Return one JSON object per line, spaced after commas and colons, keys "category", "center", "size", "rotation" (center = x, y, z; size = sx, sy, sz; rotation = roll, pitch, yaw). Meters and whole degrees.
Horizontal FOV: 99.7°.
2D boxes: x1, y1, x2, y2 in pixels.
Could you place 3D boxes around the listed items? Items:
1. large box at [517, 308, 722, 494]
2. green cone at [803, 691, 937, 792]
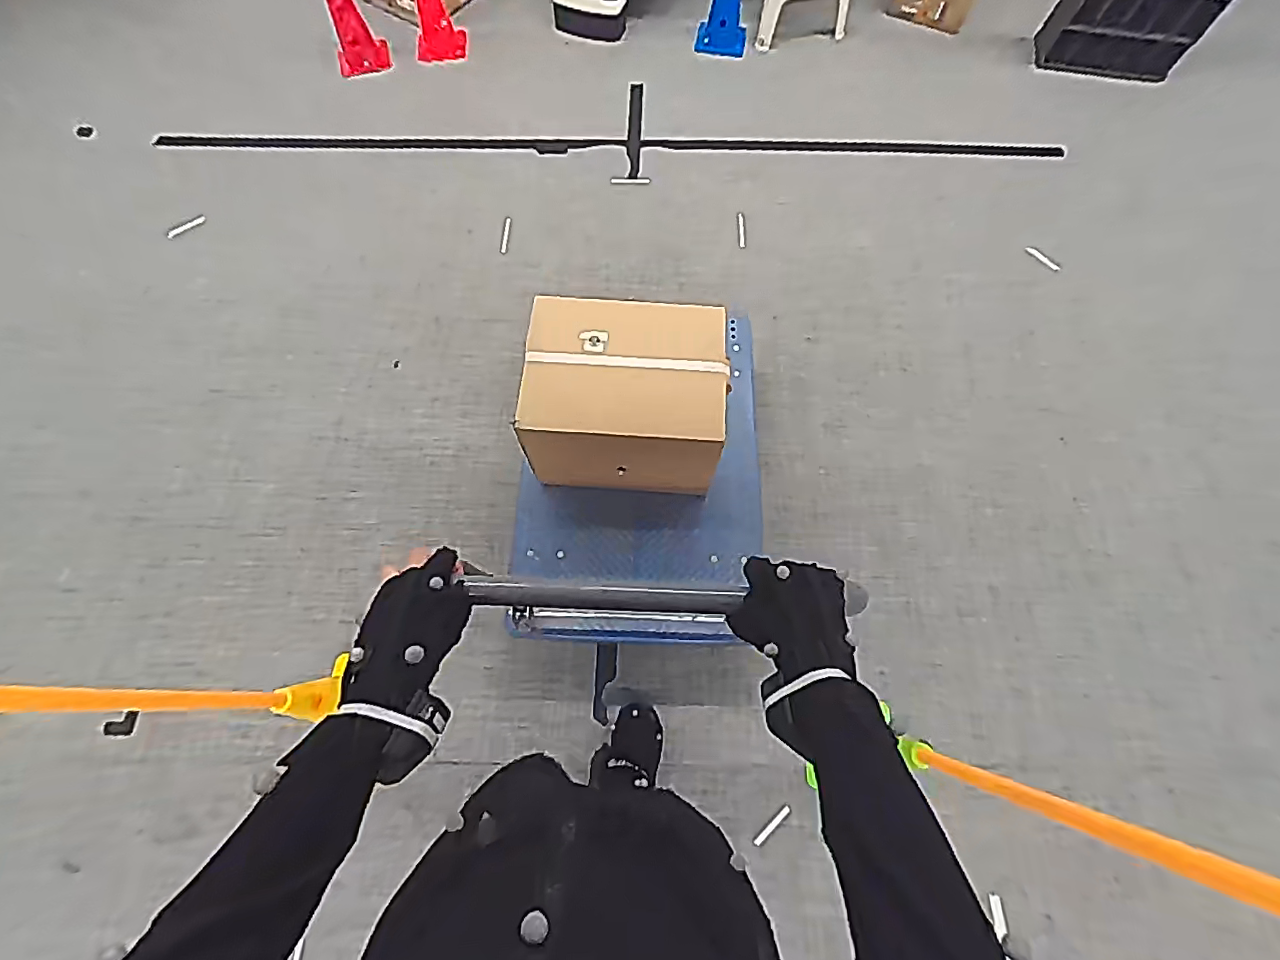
{"category": "large box", "center": [-0.030, -0.163, 1.233], "size": [0.408, 0.320, 0.320], "rotation": [4, 69, 2]}
{"category": "green cone", "center": [0.487, 0.546, 1.106], "size": [0.202, 0.368, 0.200], "rotation": [6, 68, 1]}
